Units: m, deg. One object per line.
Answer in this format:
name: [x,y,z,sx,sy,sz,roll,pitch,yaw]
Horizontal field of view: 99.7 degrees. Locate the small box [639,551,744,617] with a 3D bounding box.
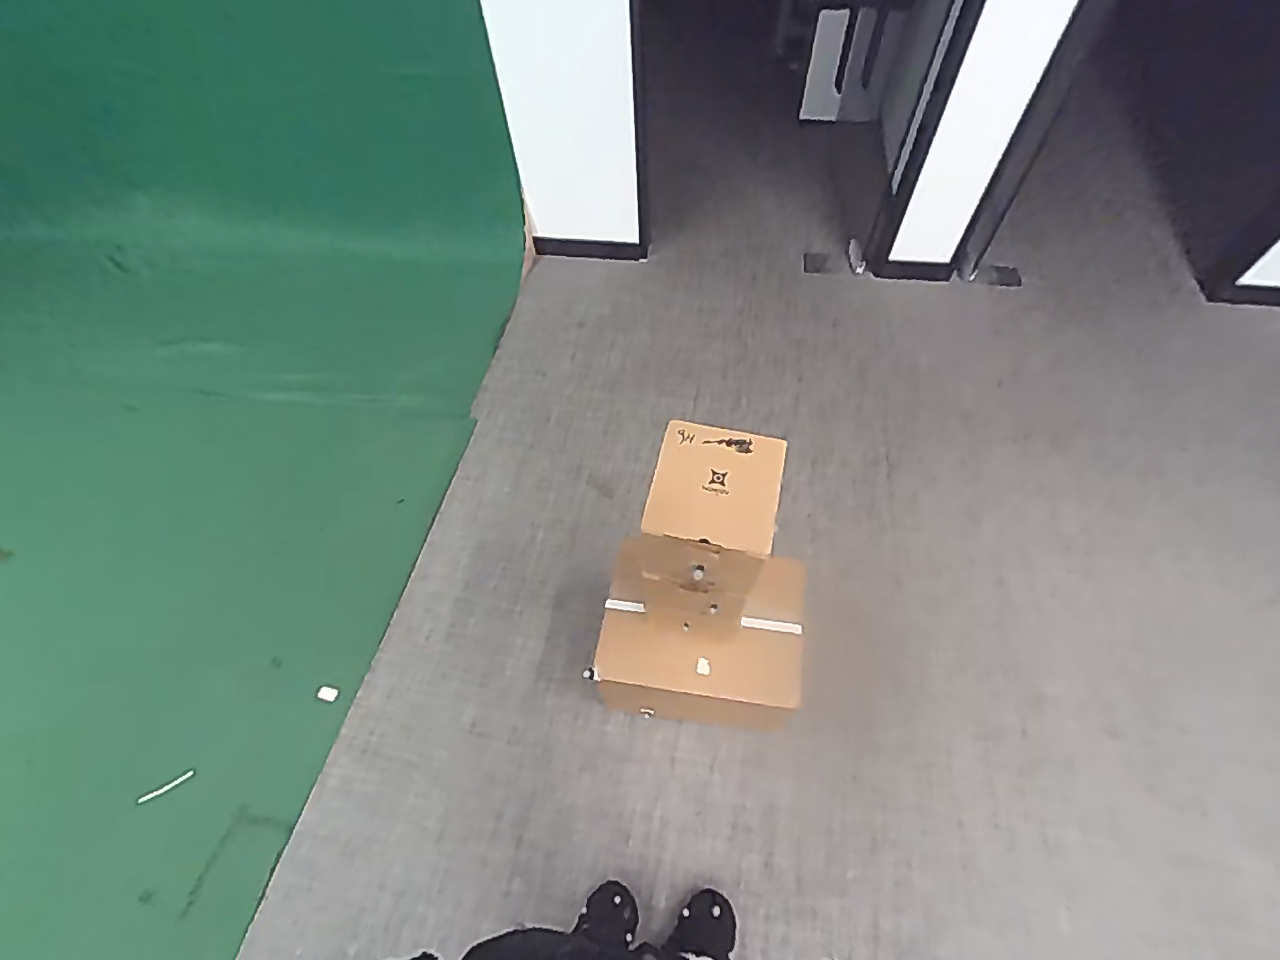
small box: [0.098,0.121,0.928,0.168,0.176,0.179,10,62,7]

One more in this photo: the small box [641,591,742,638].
small box: [0.110,0.199,1.066,0.179,0.176,0.168,13,62,10]

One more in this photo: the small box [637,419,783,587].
small box: [0.100,0.041,0.785,0.168,0.176,0.179,12,64,8]
